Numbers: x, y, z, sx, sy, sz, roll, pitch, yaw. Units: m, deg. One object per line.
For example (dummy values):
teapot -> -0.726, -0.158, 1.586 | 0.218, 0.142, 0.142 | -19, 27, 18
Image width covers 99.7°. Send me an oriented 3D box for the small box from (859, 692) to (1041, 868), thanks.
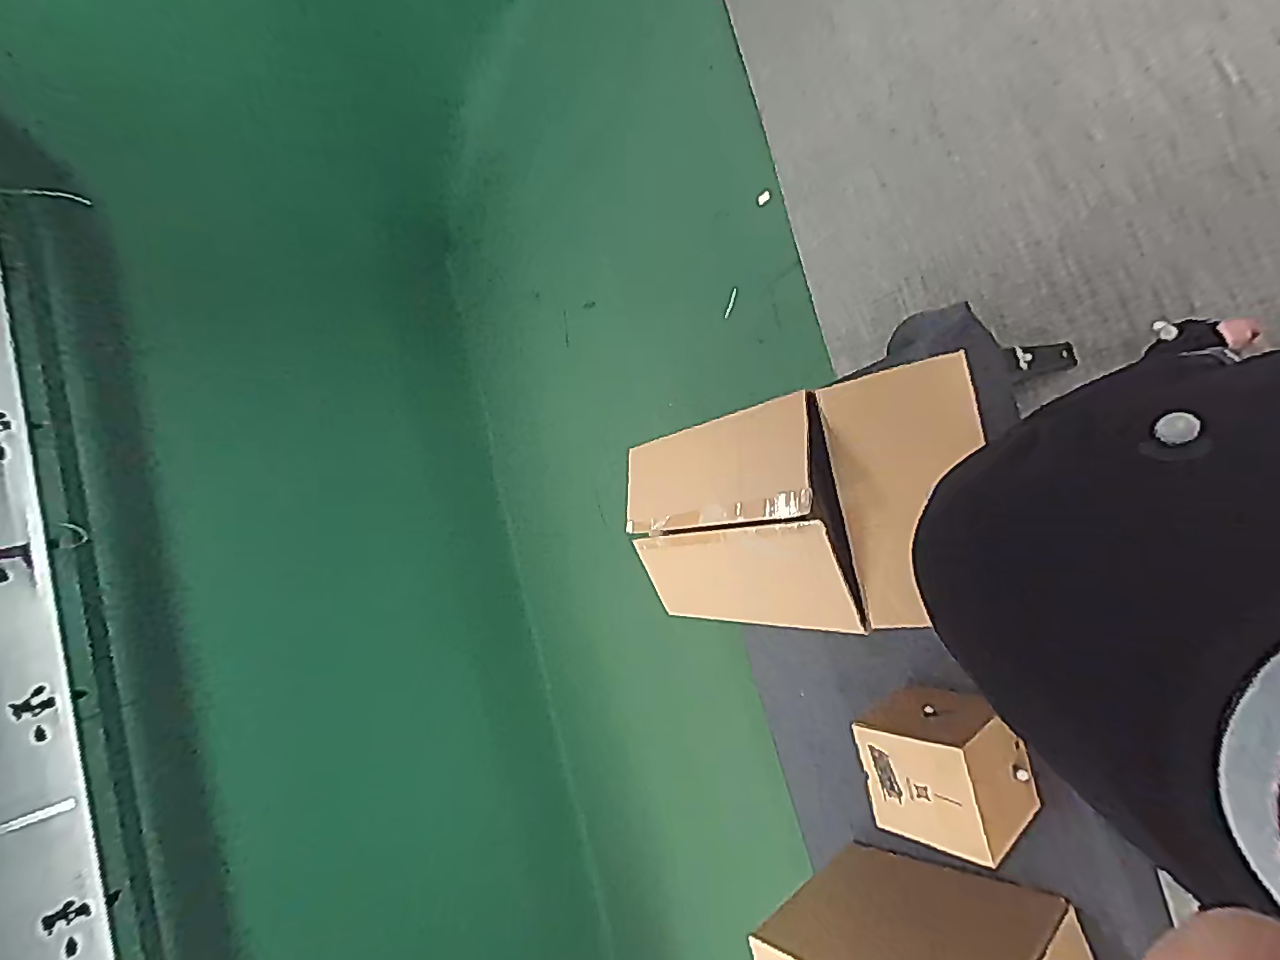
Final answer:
small box -> 0.489, 0.455, 0.858 | 0.179, 0.176, 0.168 | -18, 86, 55
